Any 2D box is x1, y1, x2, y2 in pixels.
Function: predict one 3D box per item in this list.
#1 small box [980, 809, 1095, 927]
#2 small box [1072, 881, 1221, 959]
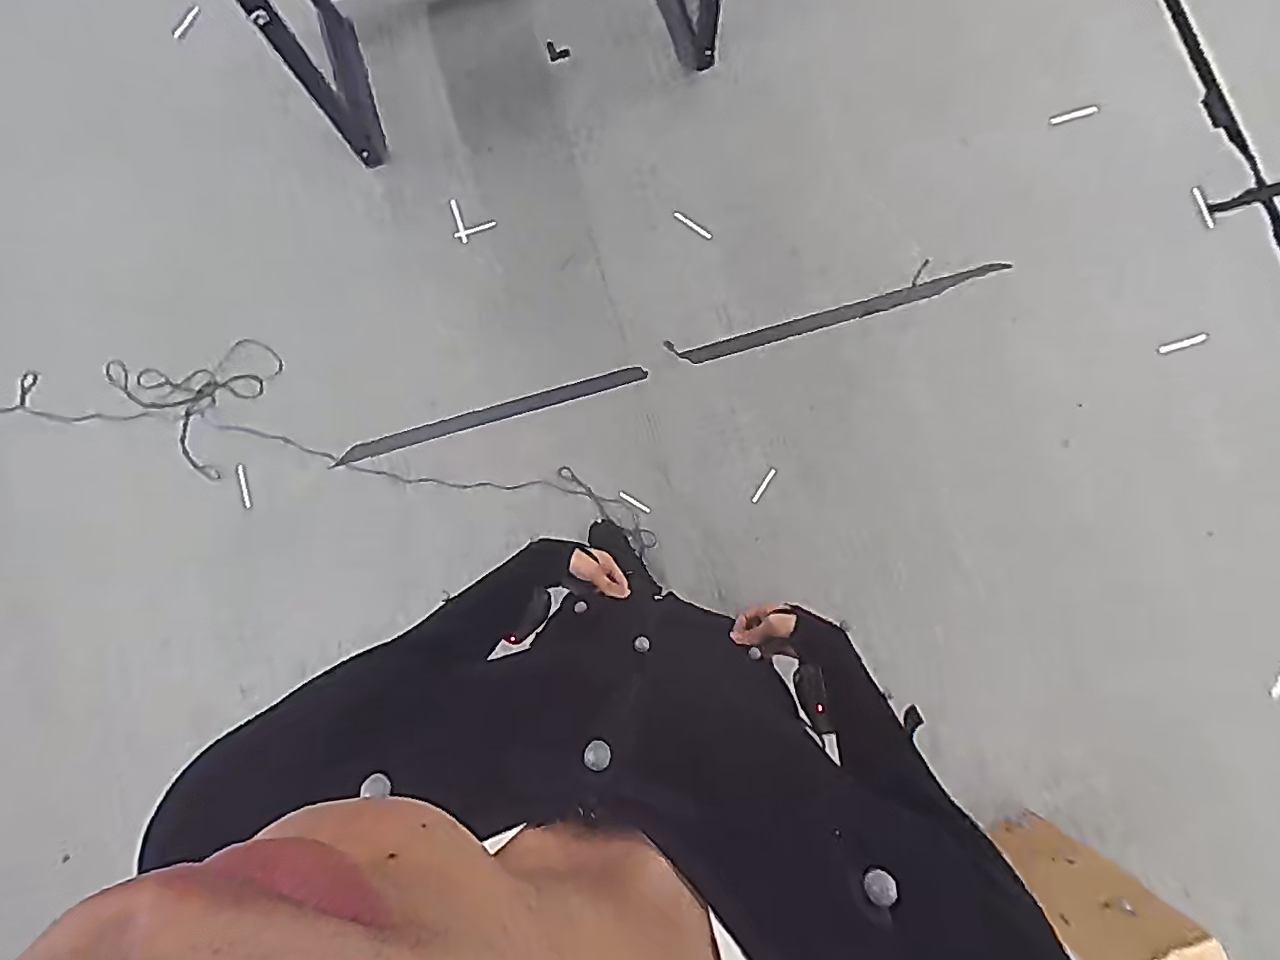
[{"bbox_3d":[1.075,1.044,1.468,0.168,0.176,0.179,-19,86,-2],"label":"small box"},{"bbox_3d":[1.077,1.008,1.142,0.168,0.176,0.179,-19,85,-3],"label":"small box"}]
